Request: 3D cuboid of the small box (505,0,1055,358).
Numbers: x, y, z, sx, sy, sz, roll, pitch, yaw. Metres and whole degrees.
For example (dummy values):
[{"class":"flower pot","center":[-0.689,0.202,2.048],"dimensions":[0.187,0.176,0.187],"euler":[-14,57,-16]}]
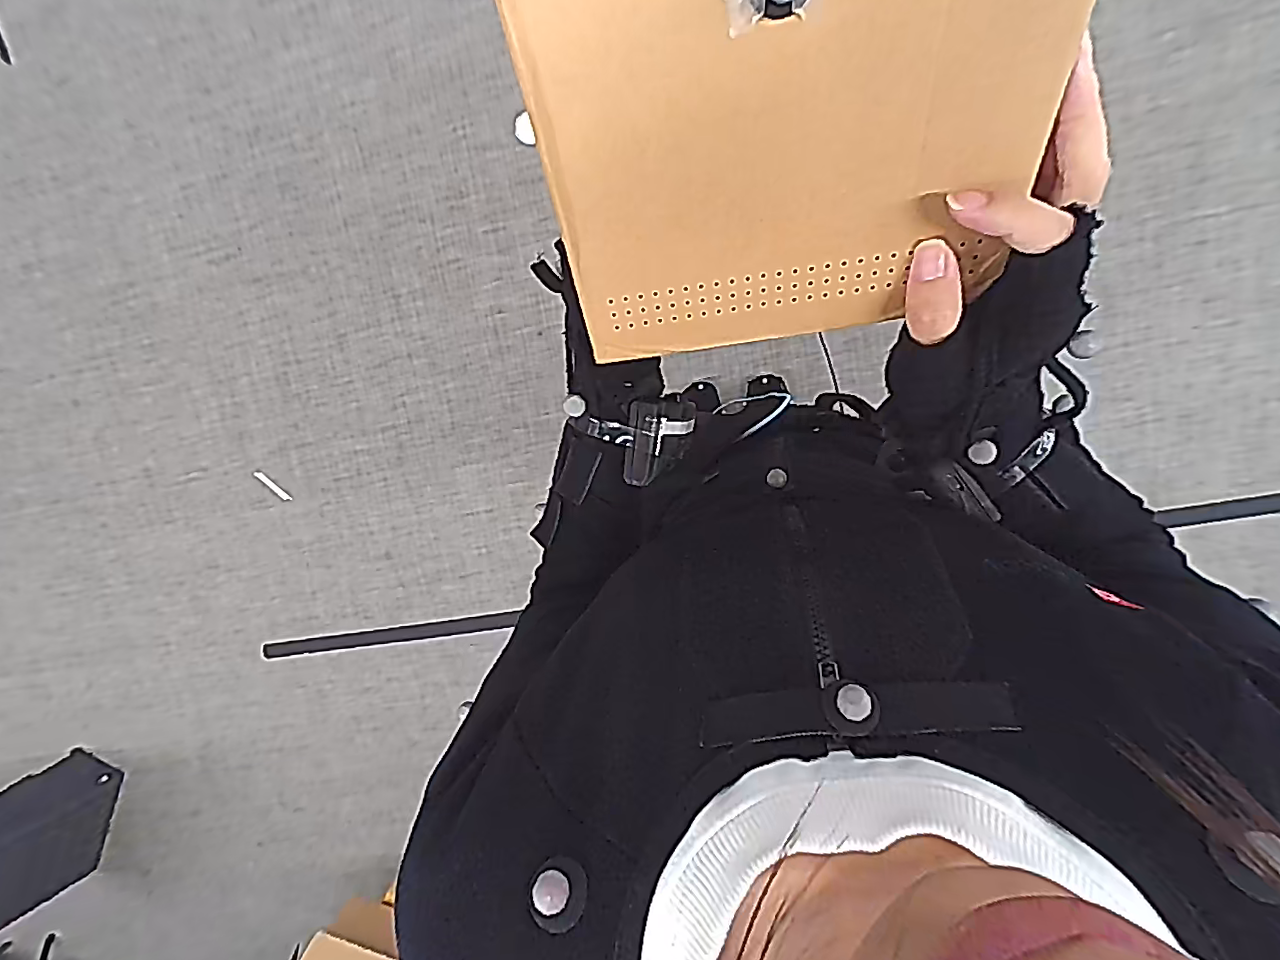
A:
[{"class":"small box","center":[0.053,-0.172,0.243],"dimensions":[0.179,0.168,0.176],"euler":[-6,138,8]}]
